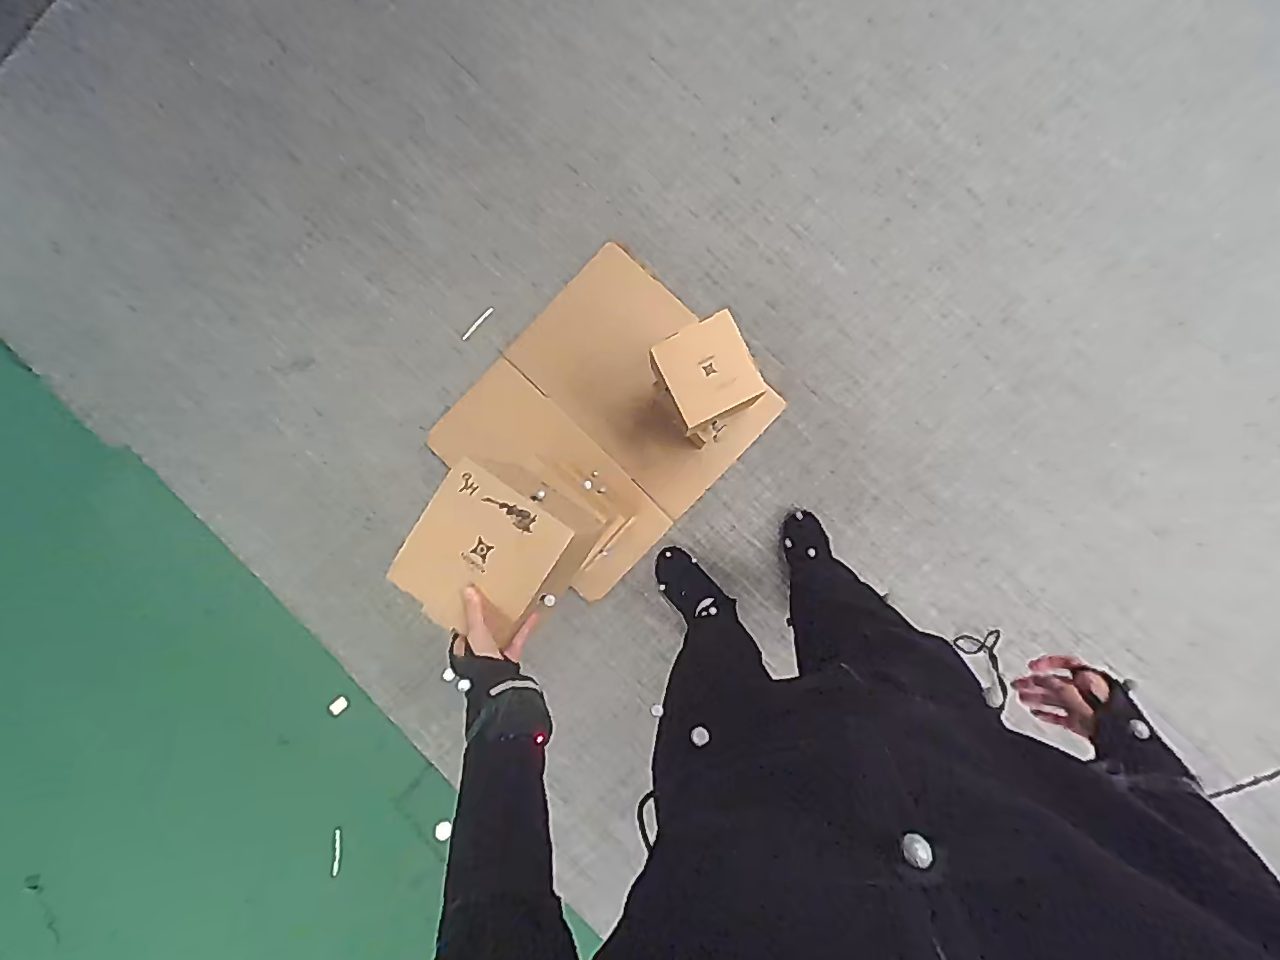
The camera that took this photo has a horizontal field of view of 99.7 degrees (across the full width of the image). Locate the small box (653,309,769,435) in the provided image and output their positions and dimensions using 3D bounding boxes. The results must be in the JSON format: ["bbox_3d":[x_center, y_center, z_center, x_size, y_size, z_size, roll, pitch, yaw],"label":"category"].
[{"bbox_3d":[0.132,-0.205,1.080,0.168,0.176,0.179,-25,88,2],"label":"small box"}]

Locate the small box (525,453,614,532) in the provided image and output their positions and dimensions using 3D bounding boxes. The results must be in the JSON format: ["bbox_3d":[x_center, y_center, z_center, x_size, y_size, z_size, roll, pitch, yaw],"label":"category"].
[{"bbox_3d":[-0.160,0.075,0.930,0.168,0.176,0.179,41,91,3],"label":"small box"}]

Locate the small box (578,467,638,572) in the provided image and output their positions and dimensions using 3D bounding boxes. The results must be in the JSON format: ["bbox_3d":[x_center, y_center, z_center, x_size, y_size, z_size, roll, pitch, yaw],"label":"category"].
[{"bbox_3d":[-0.120,0.085,1.257,0.179,0.176,0.168,42,91,4],"label":"small box"}]

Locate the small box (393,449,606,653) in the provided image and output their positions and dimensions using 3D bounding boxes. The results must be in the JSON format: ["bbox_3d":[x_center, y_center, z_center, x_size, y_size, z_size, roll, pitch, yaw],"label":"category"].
[{"bbox_3d":[-0.164,0.082,0.690,0.168,0.176,0.179,35,94,8],"label":"small box"}]

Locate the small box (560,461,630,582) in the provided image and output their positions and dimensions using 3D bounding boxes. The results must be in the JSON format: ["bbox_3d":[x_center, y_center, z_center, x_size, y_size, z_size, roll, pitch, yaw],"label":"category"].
[{"bbox_3d":[-0.136,0.079,1.093,0.179,0.176,0.168,43,91,4],"label":"small box"}]
